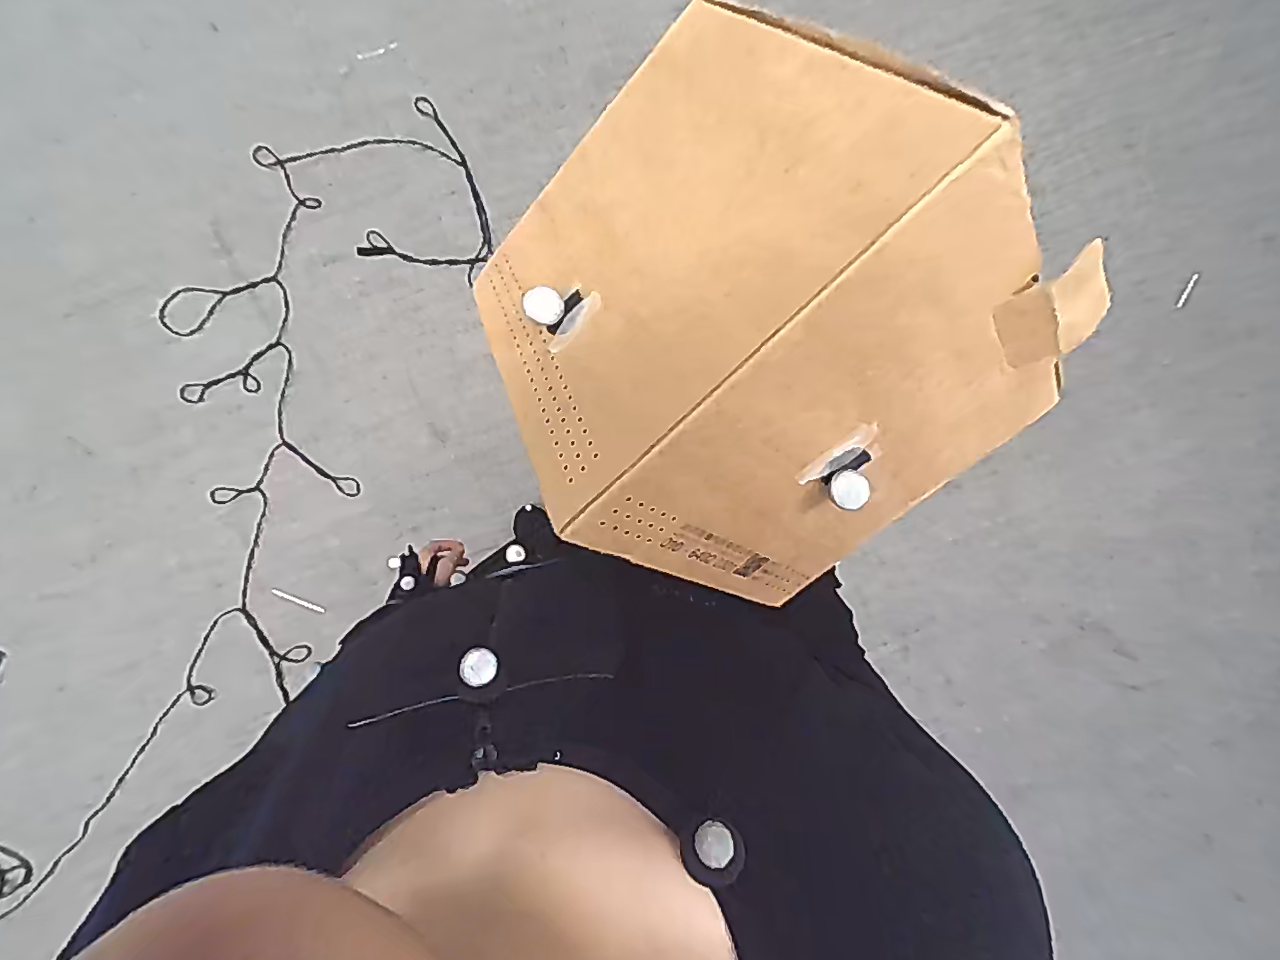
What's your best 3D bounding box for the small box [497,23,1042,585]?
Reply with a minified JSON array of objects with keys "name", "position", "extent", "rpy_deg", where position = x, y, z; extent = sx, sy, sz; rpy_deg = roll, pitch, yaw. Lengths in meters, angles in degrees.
[{"name":"small box","position":[0.053,-0.069,0.277],"extent":[0.176,0.168,0.179],"rpy_deg":[-42,50,19]}]
